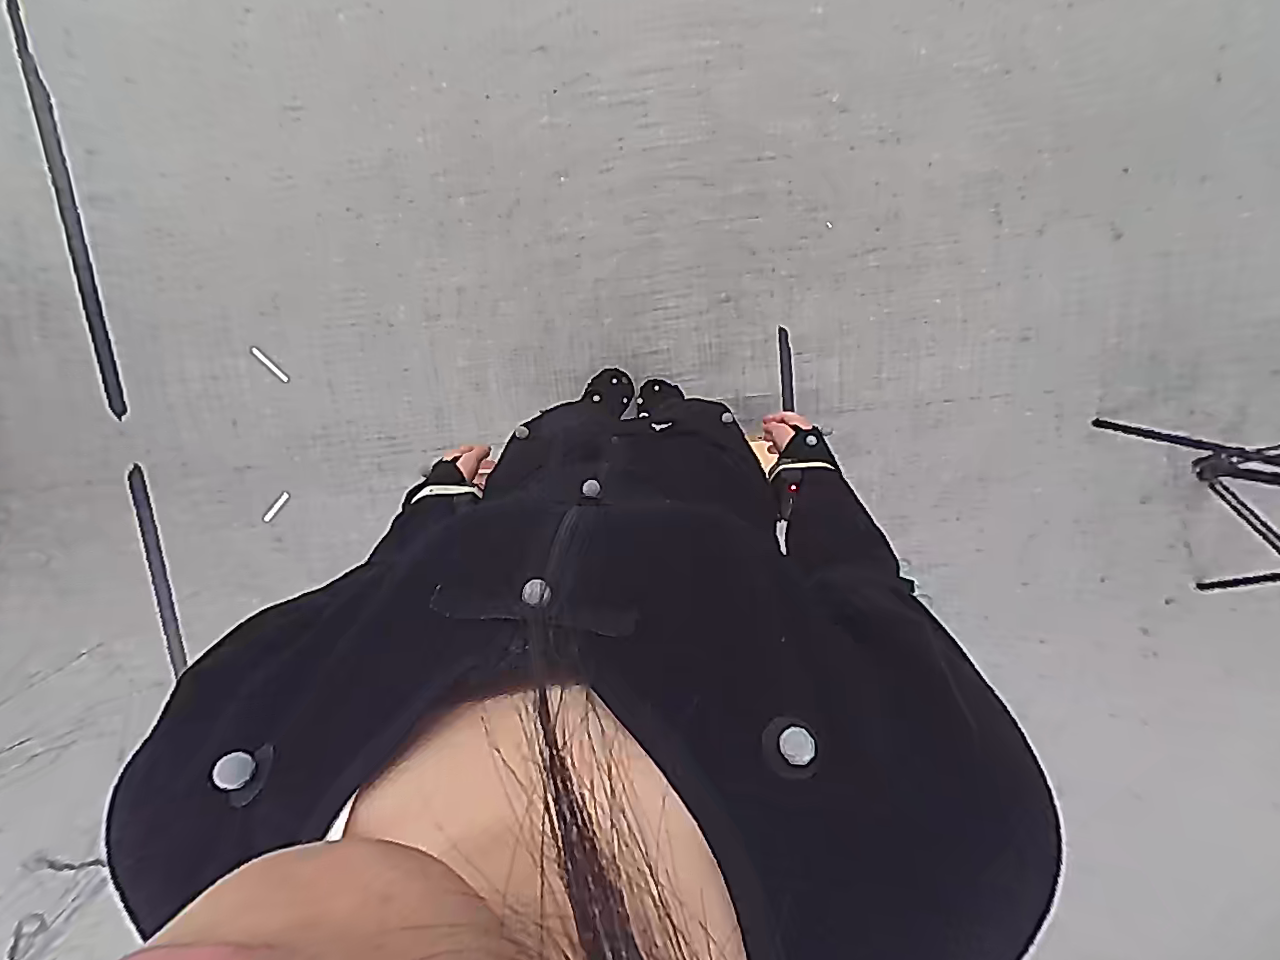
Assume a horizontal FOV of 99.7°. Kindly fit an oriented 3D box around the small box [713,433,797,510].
[{"bbox_3d":[0.295,-0.028,1.412,0.179,0.176,0.168,-7,101,1],"label":"small box"}]
